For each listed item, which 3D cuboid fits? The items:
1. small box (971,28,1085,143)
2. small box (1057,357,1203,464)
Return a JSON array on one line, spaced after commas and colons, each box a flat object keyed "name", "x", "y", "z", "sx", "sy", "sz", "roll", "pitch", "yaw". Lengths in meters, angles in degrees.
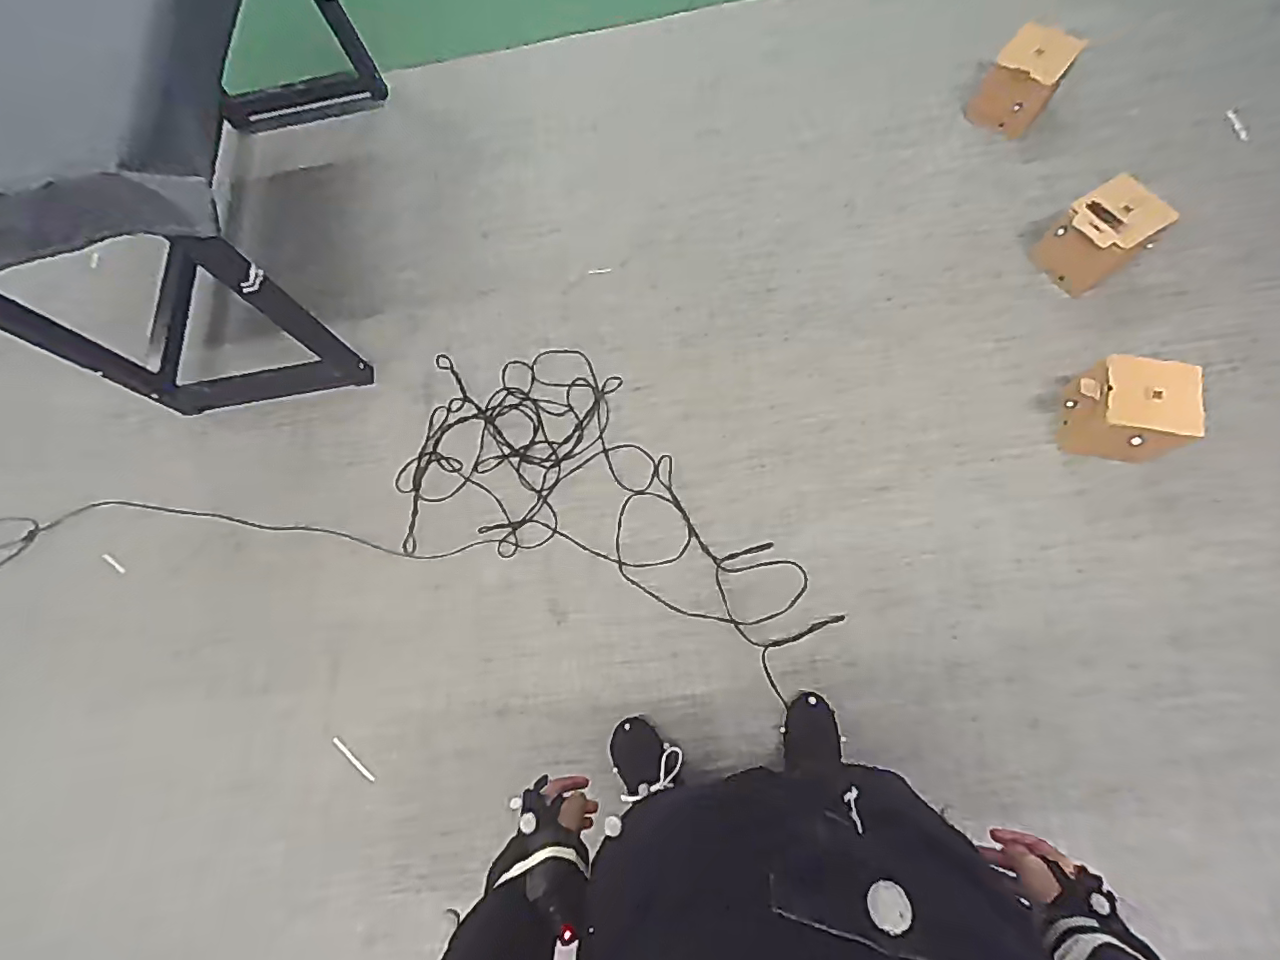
[{"name": "small box", "x": 1.058, "y": -1.084, "z": 1.497, "sx": 0.168, "sy": 0.176, "sz": 0.179, "roll": 38, "pitch": 79, "yaw": 15}, {"name": "small box", "x": 1.068, "y": -0.145, "z": 1.188, "sx": 0.179, "sy": 0.176, "sz": 0.168, "roll": 11, "pitch": 74, "yaw": 11}]
